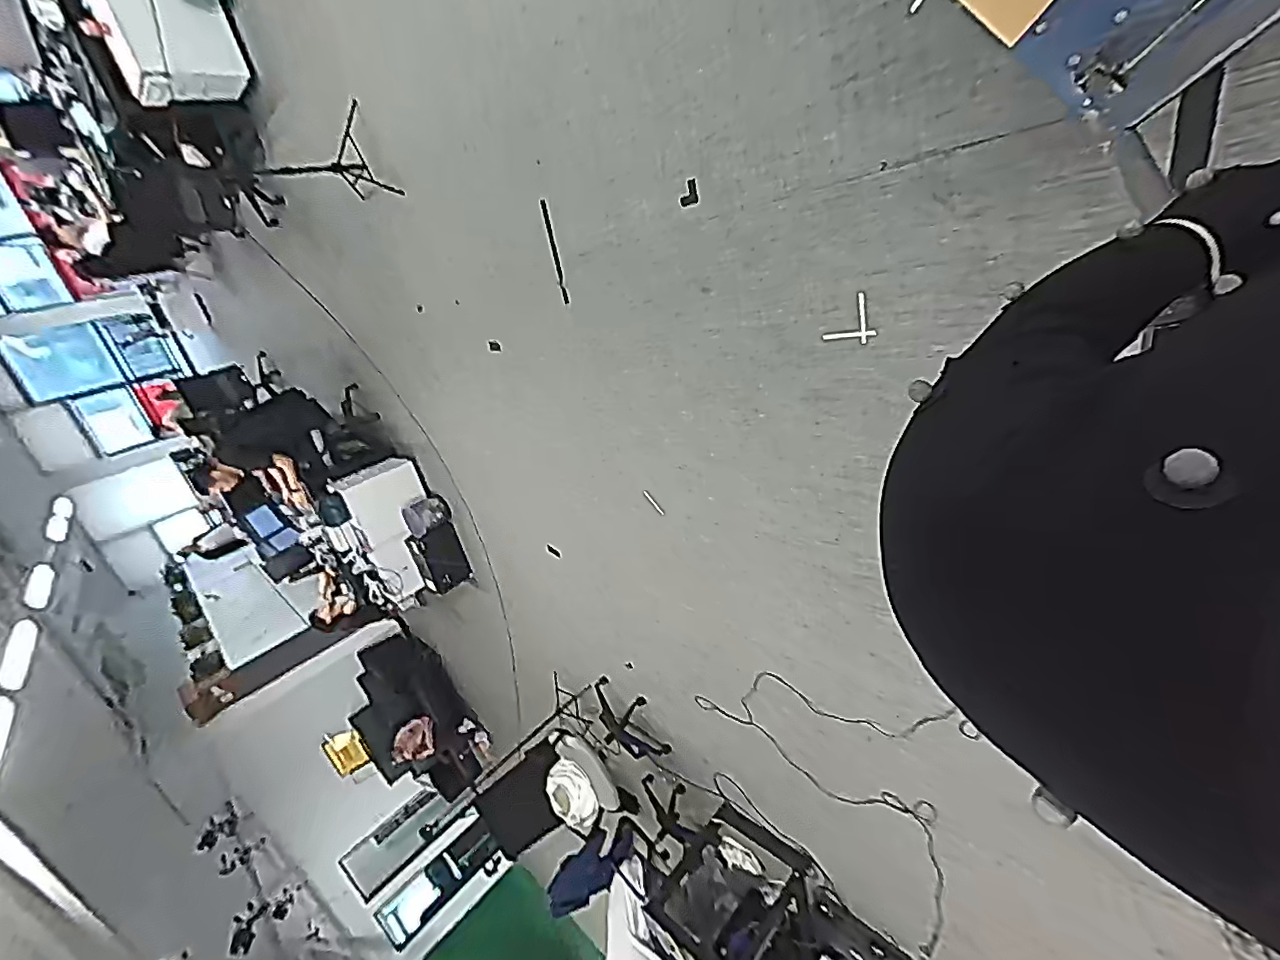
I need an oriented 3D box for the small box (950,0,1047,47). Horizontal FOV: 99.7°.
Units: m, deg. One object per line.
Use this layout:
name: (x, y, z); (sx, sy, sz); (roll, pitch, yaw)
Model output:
small box: (0.564, -0.794, 0.797); (0.168, 0.176, 0.179); (38, 141, -5)
